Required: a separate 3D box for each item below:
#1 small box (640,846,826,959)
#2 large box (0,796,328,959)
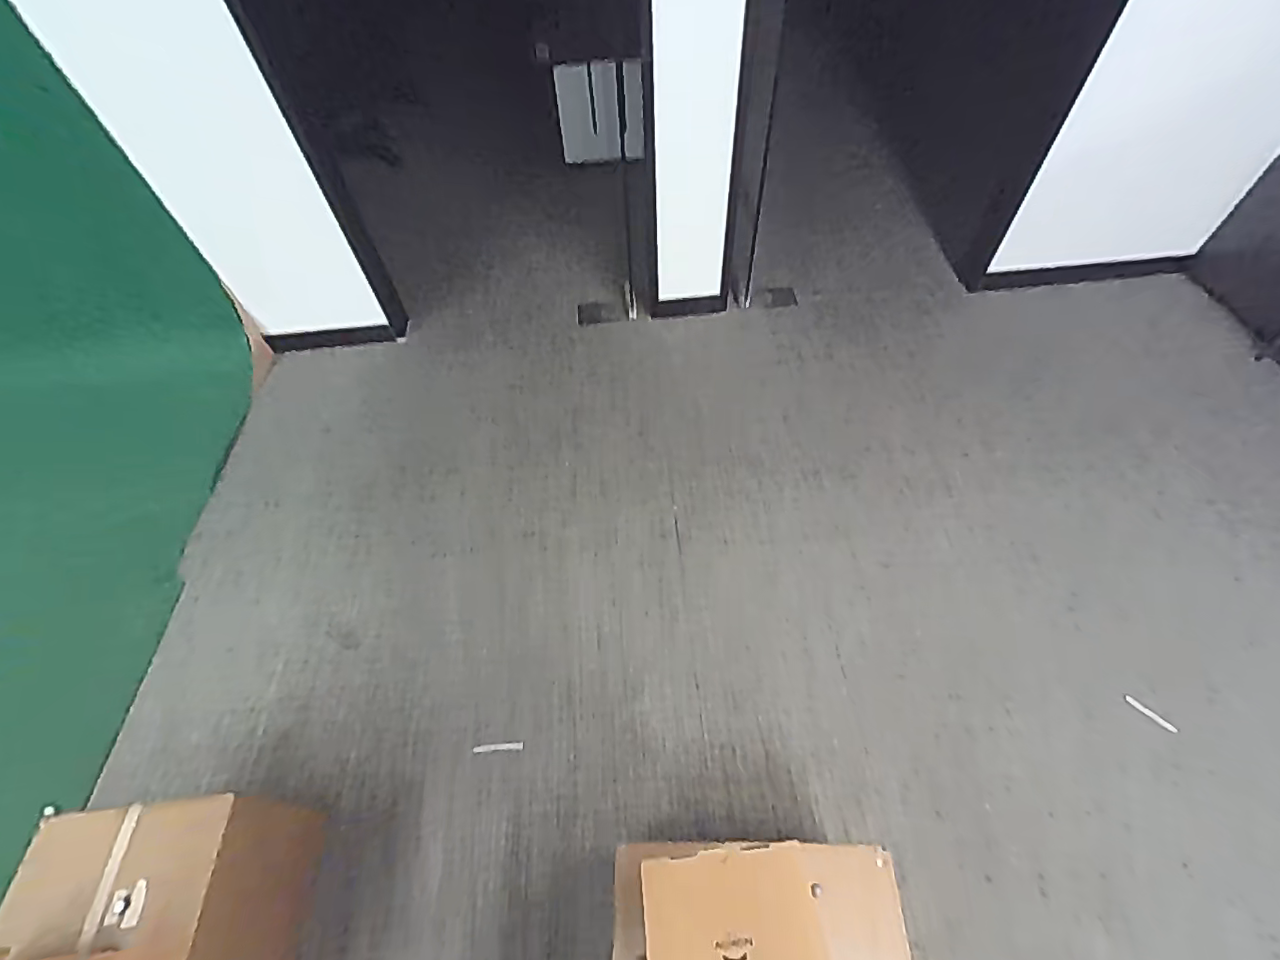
[{"bbox_3d":[0.099,0.494,0.539,0.168,0.176,0.179,-10,44,3],"label":"small box"},{"bbox_3d":[-0.782,0.785,0.886,0.320,0.320,0.408,-6,52,-1],"label":"large box"}]
